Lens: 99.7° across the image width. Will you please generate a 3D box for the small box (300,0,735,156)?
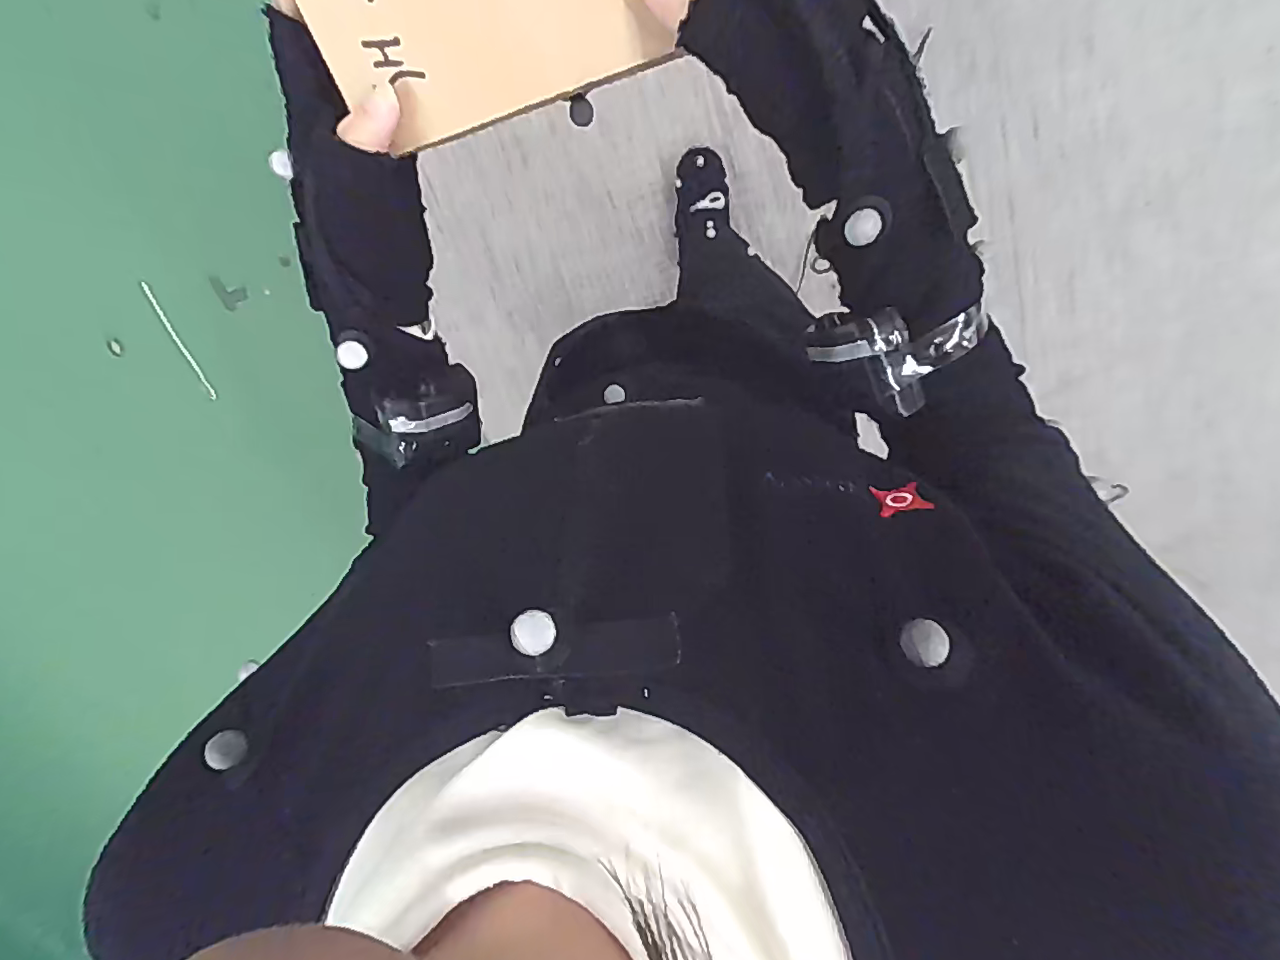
[{"bbox_3d":[-0.065,-0.282,0.262,0.179,0.176,0.168,-13,125,9],"label":"small box"}]
